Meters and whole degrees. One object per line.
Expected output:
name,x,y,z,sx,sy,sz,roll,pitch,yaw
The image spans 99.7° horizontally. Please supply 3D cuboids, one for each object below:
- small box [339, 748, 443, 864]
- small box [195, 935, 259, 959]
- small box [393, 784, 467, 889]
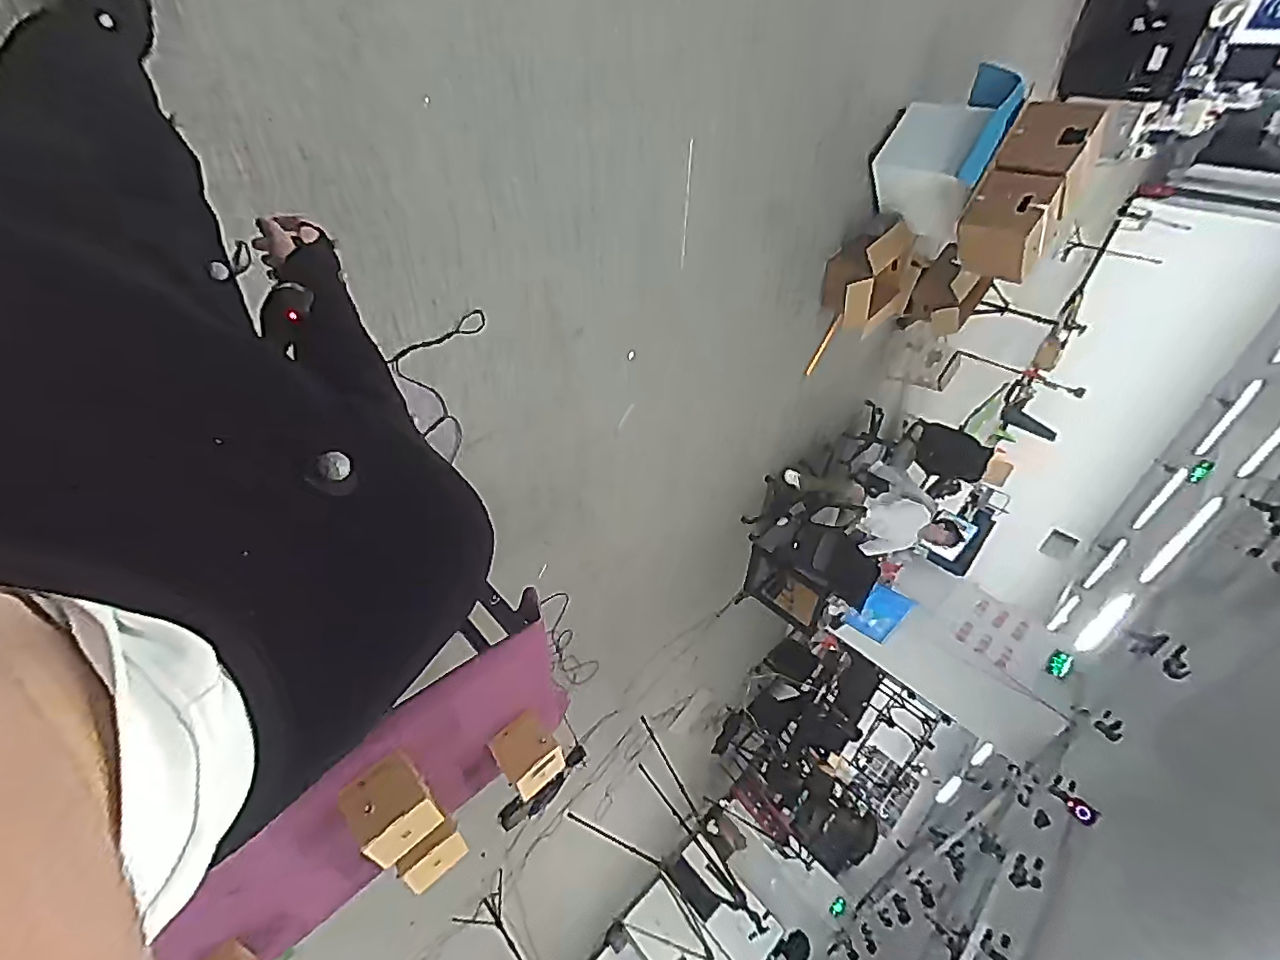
small box,-0.637,0.827,1.384,0.168,0.176,0.179,-31,142,-29
small box,-1.013,1.247,1.291,0.168,0.176,0.179,-27,137,-37
small box,-0.632,1.032,1.574,0.168,0.176,0.179,-30,139,-31
